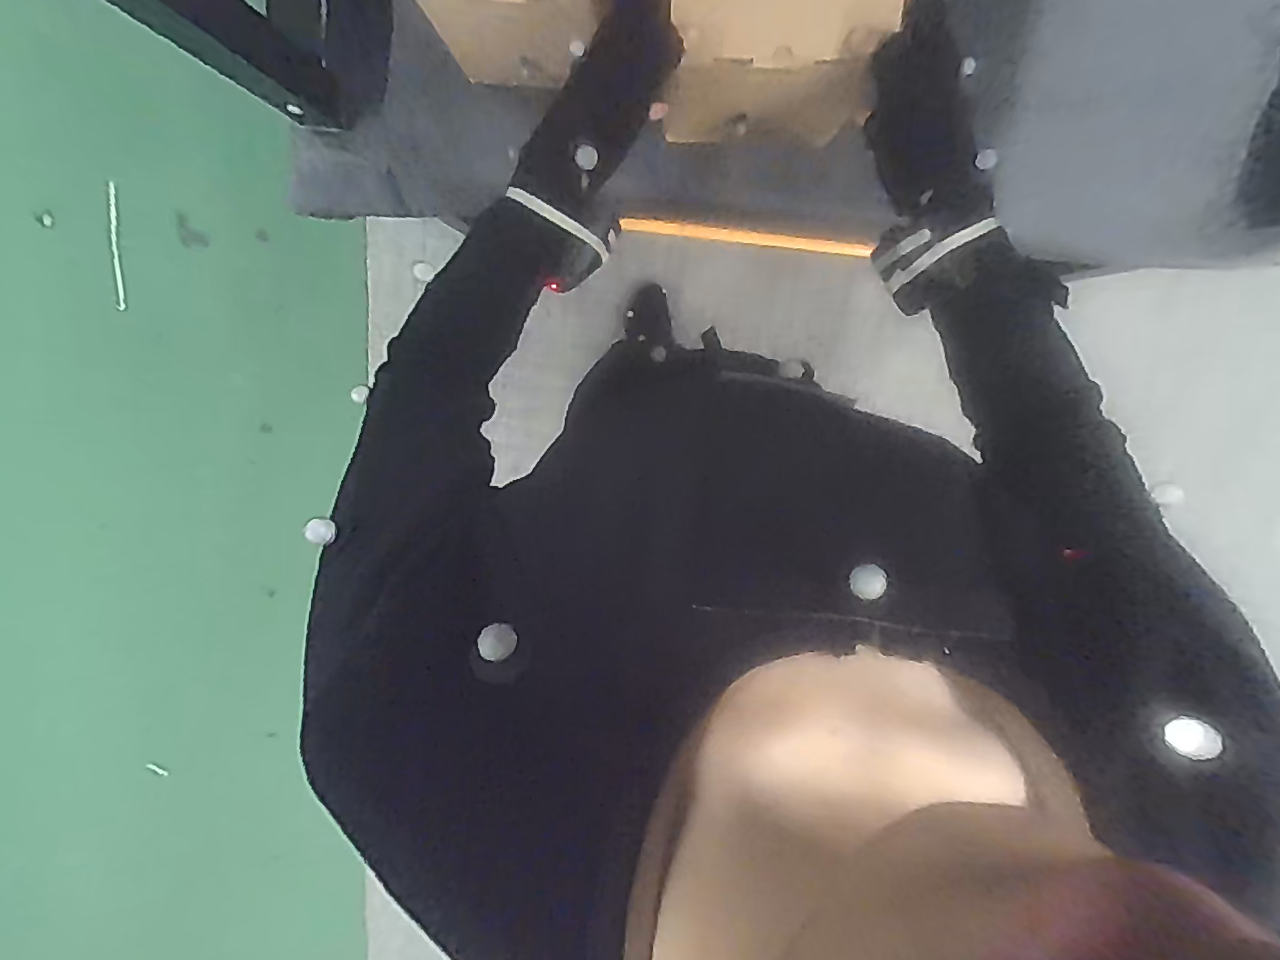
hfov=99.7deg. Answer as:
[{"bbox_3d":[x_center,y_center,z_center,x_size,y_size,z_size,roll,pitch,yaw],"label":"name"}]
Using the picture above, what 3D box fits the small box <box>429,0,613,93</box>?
[{"bbox_3d":[-0.115,-0.528,0.537,0.168,0.176,0.179,4,103,1],"label":"small box"}]
